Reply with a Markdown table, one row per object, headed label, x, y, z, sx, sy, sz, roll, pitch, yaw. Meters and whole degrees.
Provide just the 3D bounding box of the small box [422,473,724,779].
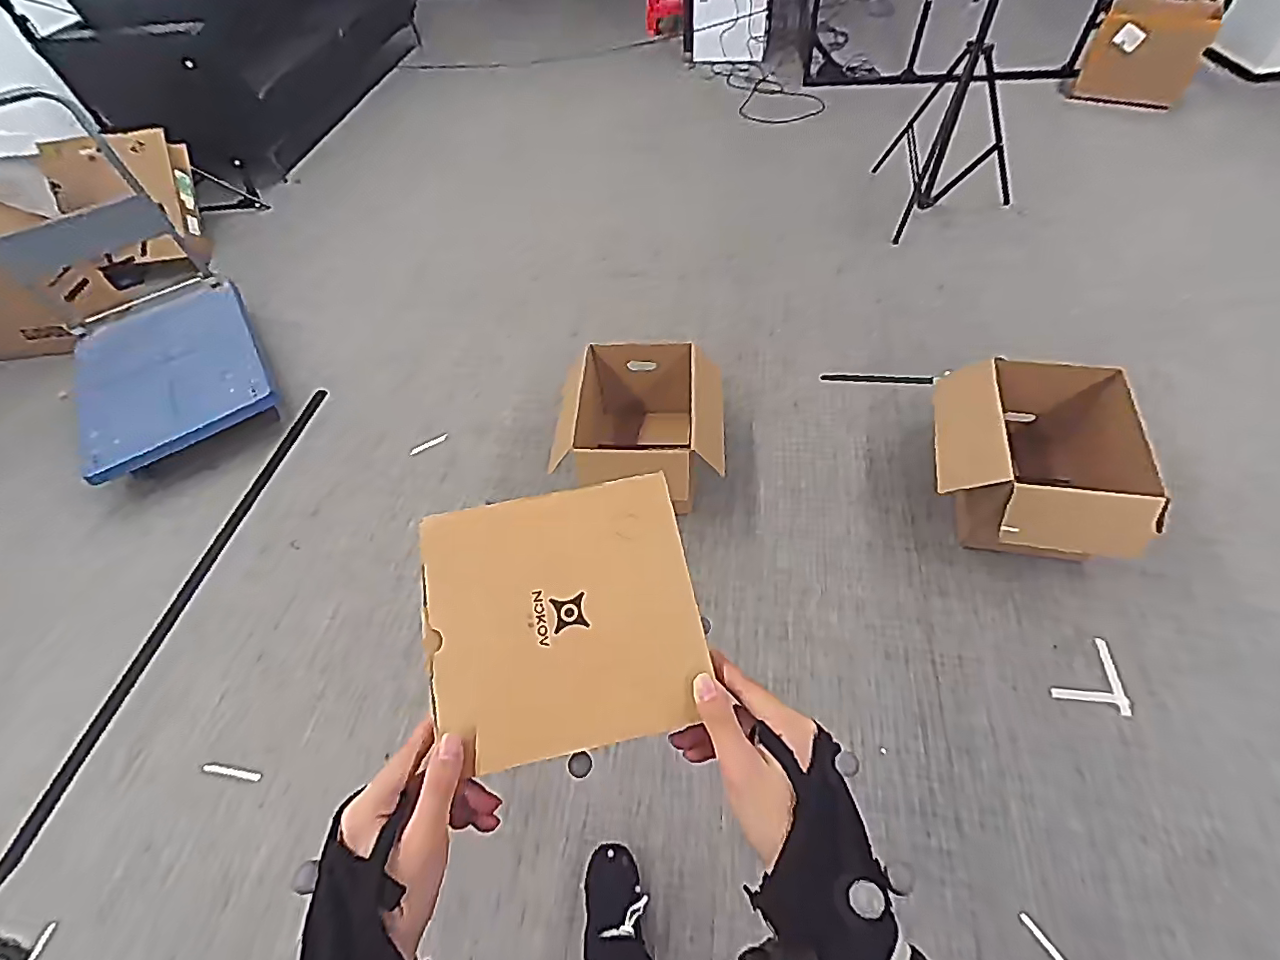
| label | x | y | z | sx | sy | sz | roll | pitch | yaw |
| --- | --- | --- | --- | --- | --- | --- | --- | --- | --- |
| small box | -0.049 | 0.112 | 0.424 | 0.179 | 0.176 | 0.168 | -12 | 70 | -4 |
